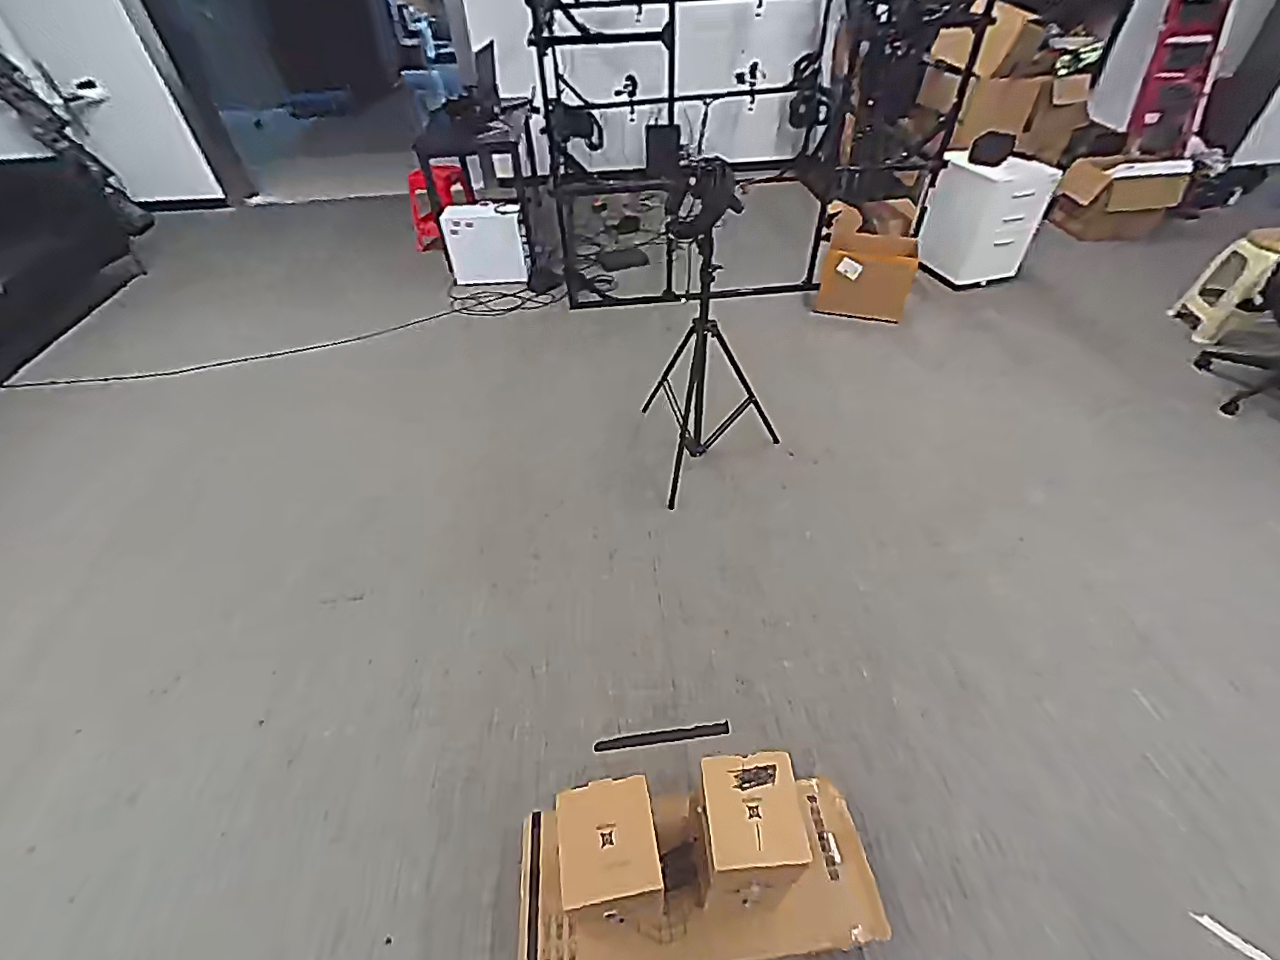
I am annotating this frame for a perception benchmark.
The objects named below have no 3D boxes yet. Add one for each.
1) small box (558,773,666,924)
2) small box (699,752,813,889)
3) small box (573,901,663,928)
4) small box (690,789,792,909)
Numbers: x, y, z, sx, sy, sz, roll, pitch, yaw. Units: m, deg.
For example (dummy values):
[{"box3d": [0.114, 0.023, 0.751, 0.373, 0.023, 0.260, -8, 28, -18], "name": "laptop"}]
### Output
[{"box3d": [-0.051, 0.662, 0.974, 0.168, 0.176, 0.179, -10, 45, -6], "name": "small box"}, {"box3d": [0.202, 0.627, 0.998, 0.168, 0.176, 0.179, -4, 44, -1], "name": "small box"}, {"box3d": [-0.047, 0.778, 1.090, 0.168, 0.176, 0.179, -7, 45, -5], "name": "small box"}, {"box3d": [0.198, 0.748, 1.110, 0.168, 0.176, 0.179, -7, 44, -3], "name": "small box"}]
